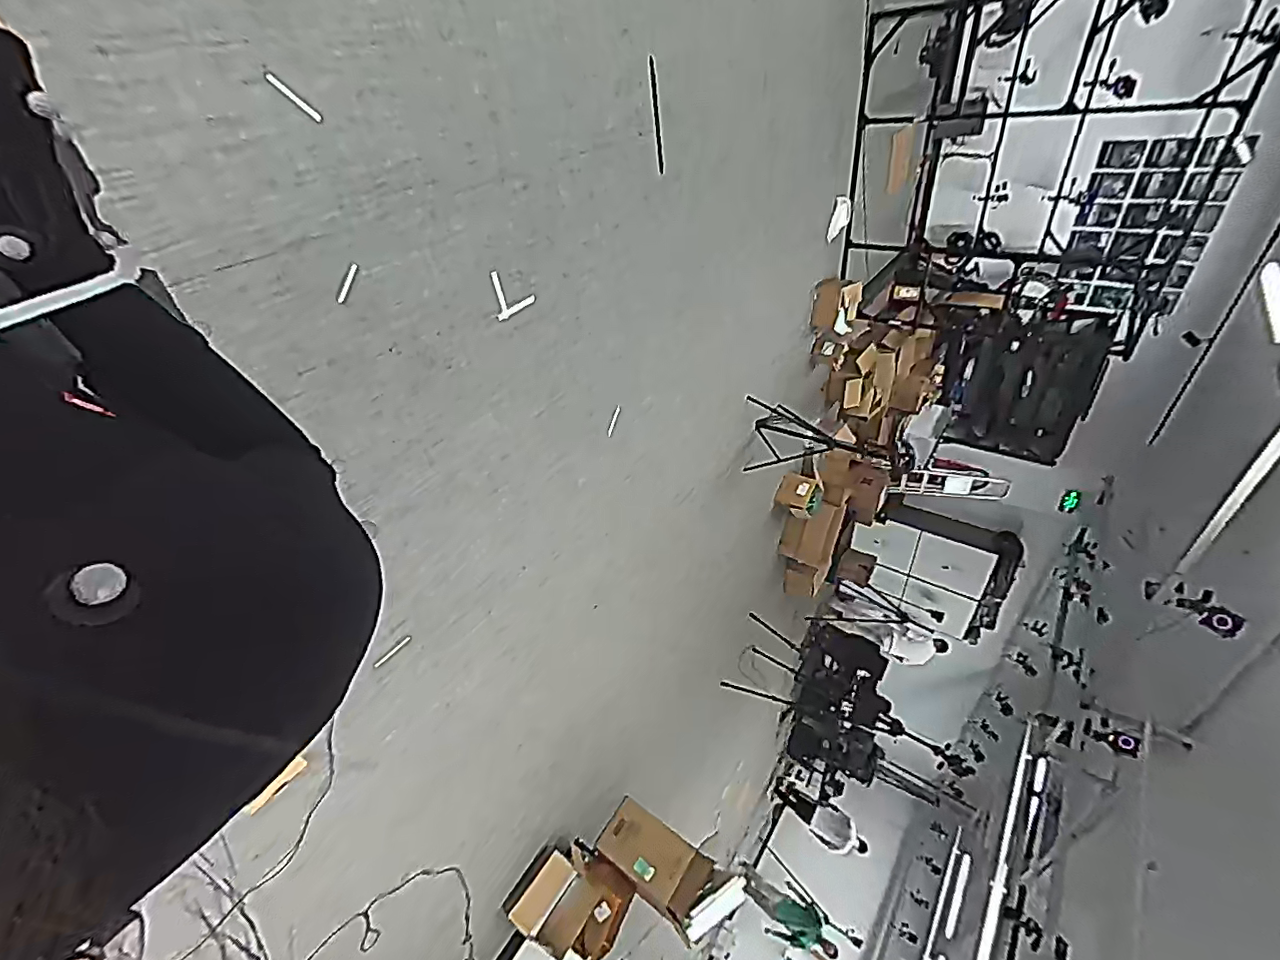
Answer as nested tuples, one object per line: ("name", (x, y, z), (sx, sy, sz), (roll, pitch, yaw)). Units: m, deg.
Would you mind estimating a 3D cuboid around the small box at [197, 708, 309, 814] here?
("small box", (-1.076, 0.775, 1.507), (0.168, 0.176, 0.179), (-42, 139, -38))
